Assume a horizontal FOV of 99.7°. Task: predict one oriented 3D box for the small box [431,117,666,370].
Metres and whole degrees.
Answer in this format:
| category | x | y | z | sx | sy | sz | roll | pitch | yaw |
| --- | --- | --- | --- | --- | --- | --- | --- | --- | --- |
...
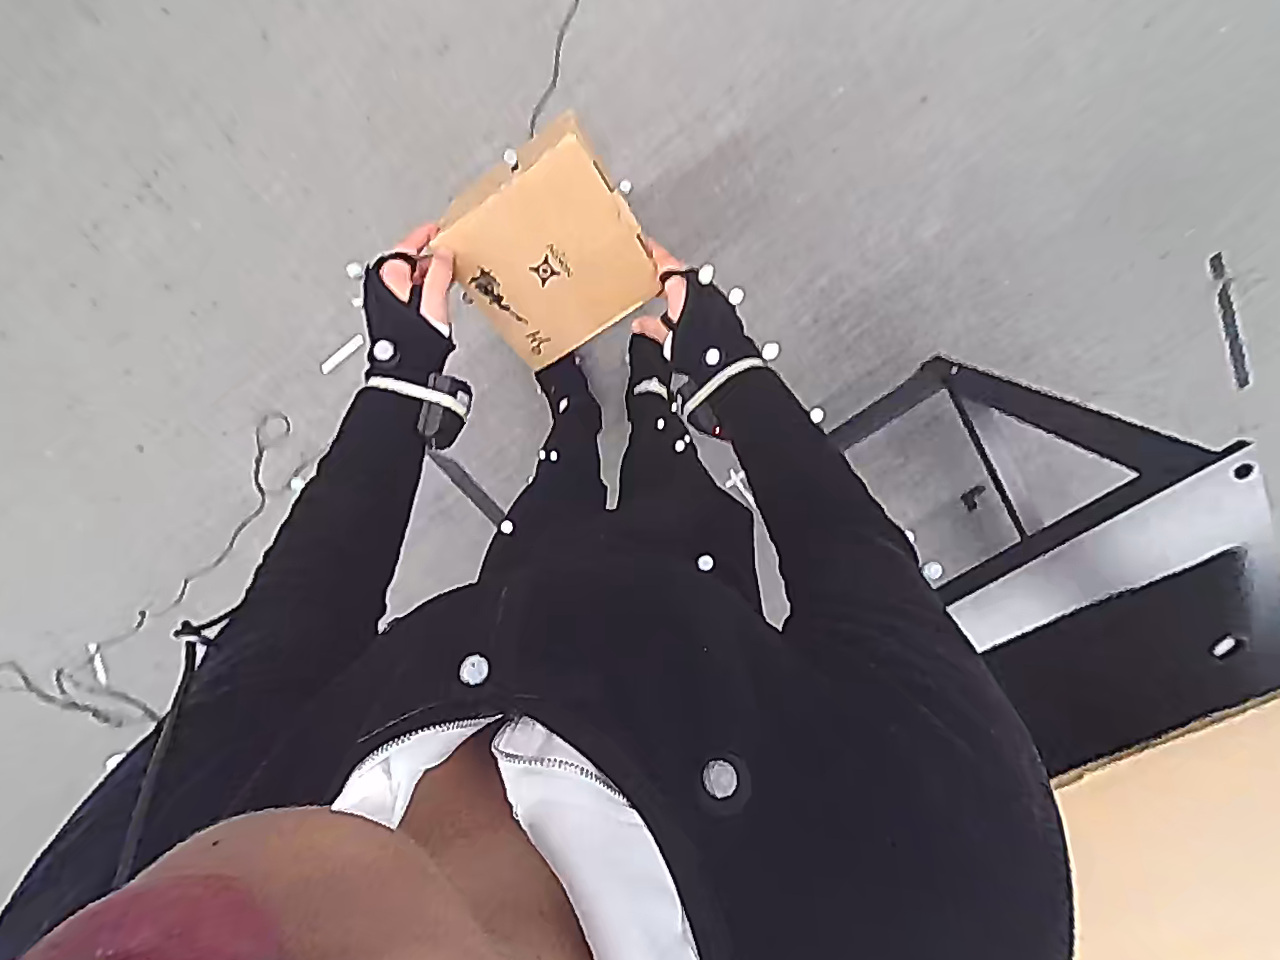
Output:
| category | x | y | z | sx | sy | sz | roll | pitch | yaw |
| --- | --- | --- | --- | --- | --- | --- | --- | --- | --- |
| small box | -0.096 | -0.261 | 0.592 | 0.179 | 0.176 | 0.168 | -29 | 128 | 14 |
